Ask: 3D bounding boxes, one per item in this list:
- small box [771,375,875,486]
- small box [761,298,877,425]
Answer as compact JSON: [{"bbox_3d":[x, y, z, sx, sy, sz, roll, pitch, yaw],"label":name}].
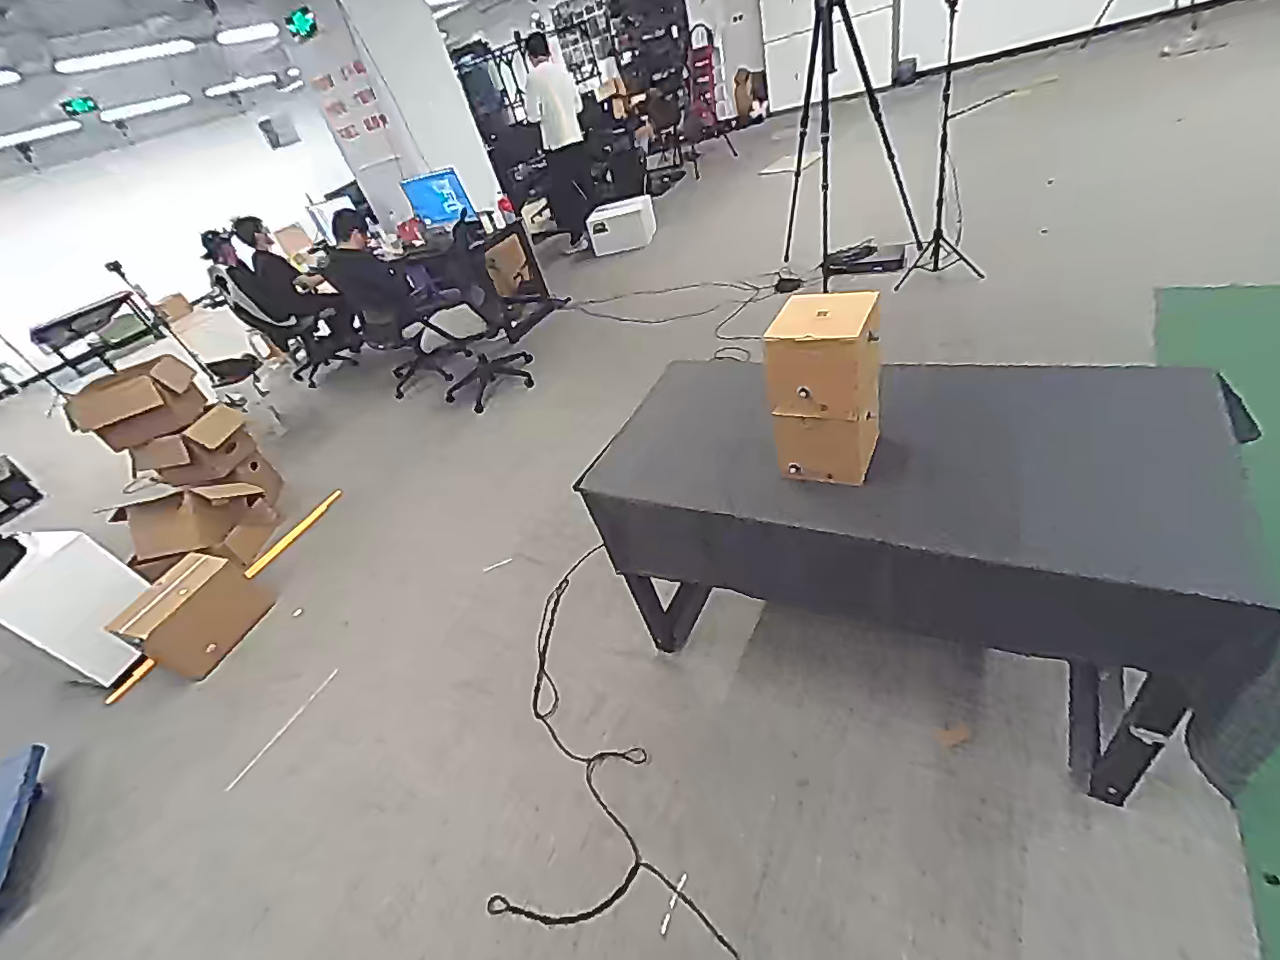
[{"bbox_3d":[0.389,-0.106,1.129,0.168,0.176,0.179,8,44,32],"label":"small box"},{"bbox_3d":[0.345,-0.228,1.030,0.168,0.176,0.179,8,46,32],"label":"small box"}]
